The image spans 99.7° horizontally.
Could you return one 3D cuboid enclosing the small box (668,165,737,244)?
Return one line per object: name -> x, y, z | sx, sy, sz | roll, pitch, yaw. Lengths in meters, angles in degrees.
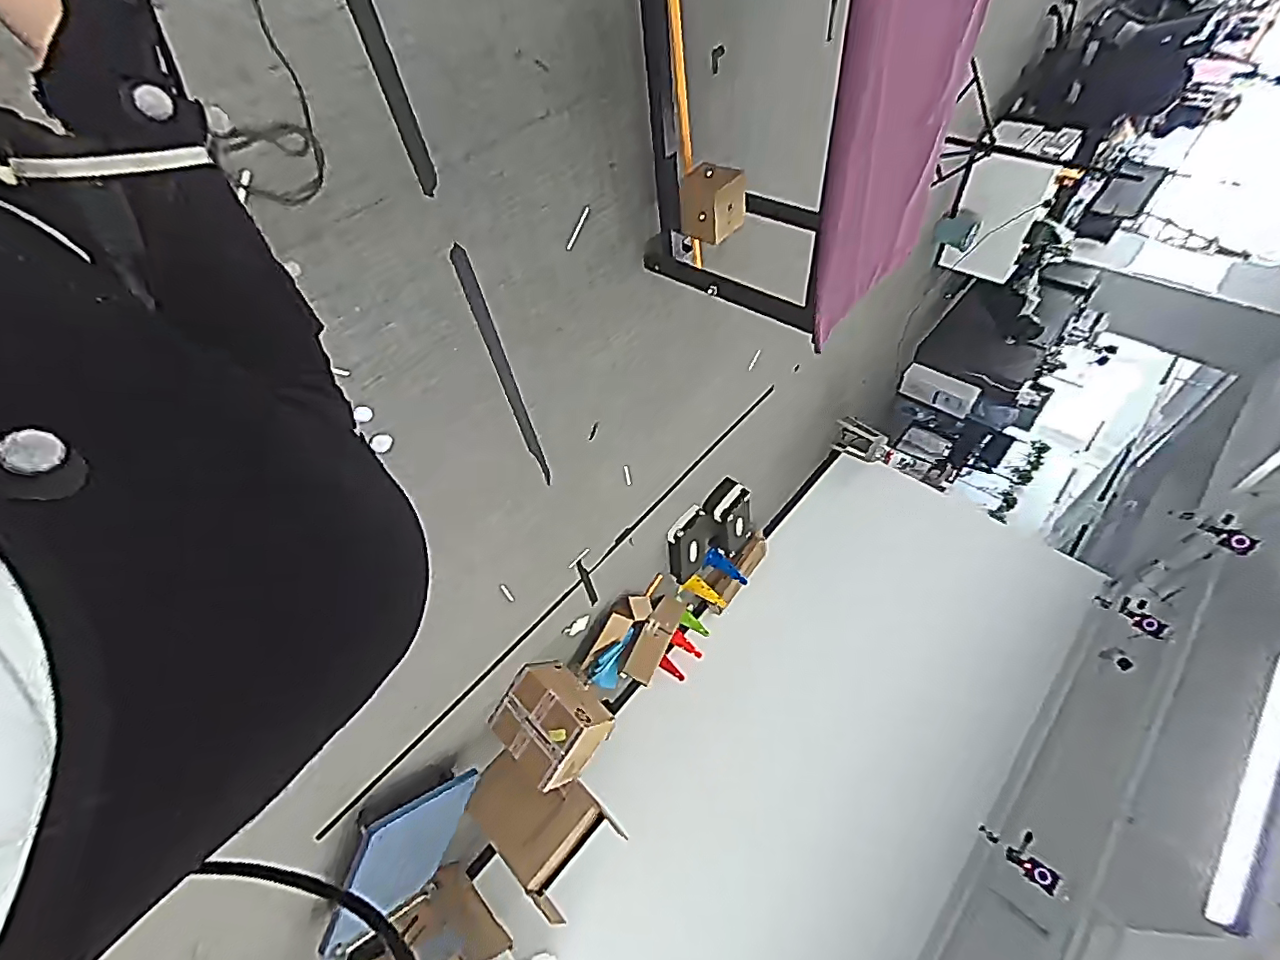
small box -> 0.210, -0.930, 1.813 | 0.168, 0.176, 0.179 | -43, 149, -21
